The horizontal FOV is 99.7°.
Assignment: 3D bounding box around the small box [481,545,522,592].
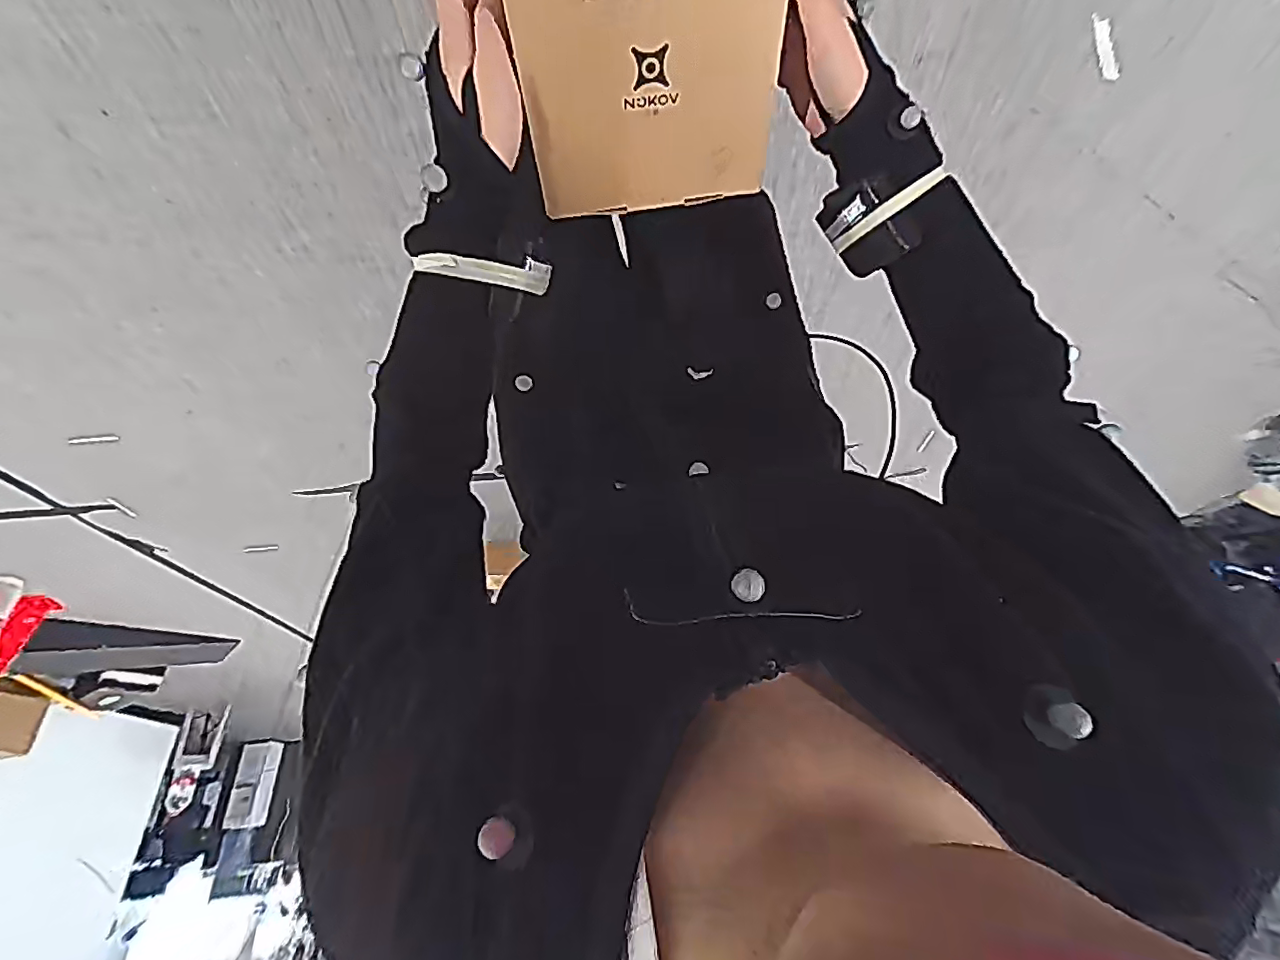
[{"bbox_3d":[-0.661,0.420,2.575,0.179,0.176,0.168,3,145,-17],"label":"small box"}]
